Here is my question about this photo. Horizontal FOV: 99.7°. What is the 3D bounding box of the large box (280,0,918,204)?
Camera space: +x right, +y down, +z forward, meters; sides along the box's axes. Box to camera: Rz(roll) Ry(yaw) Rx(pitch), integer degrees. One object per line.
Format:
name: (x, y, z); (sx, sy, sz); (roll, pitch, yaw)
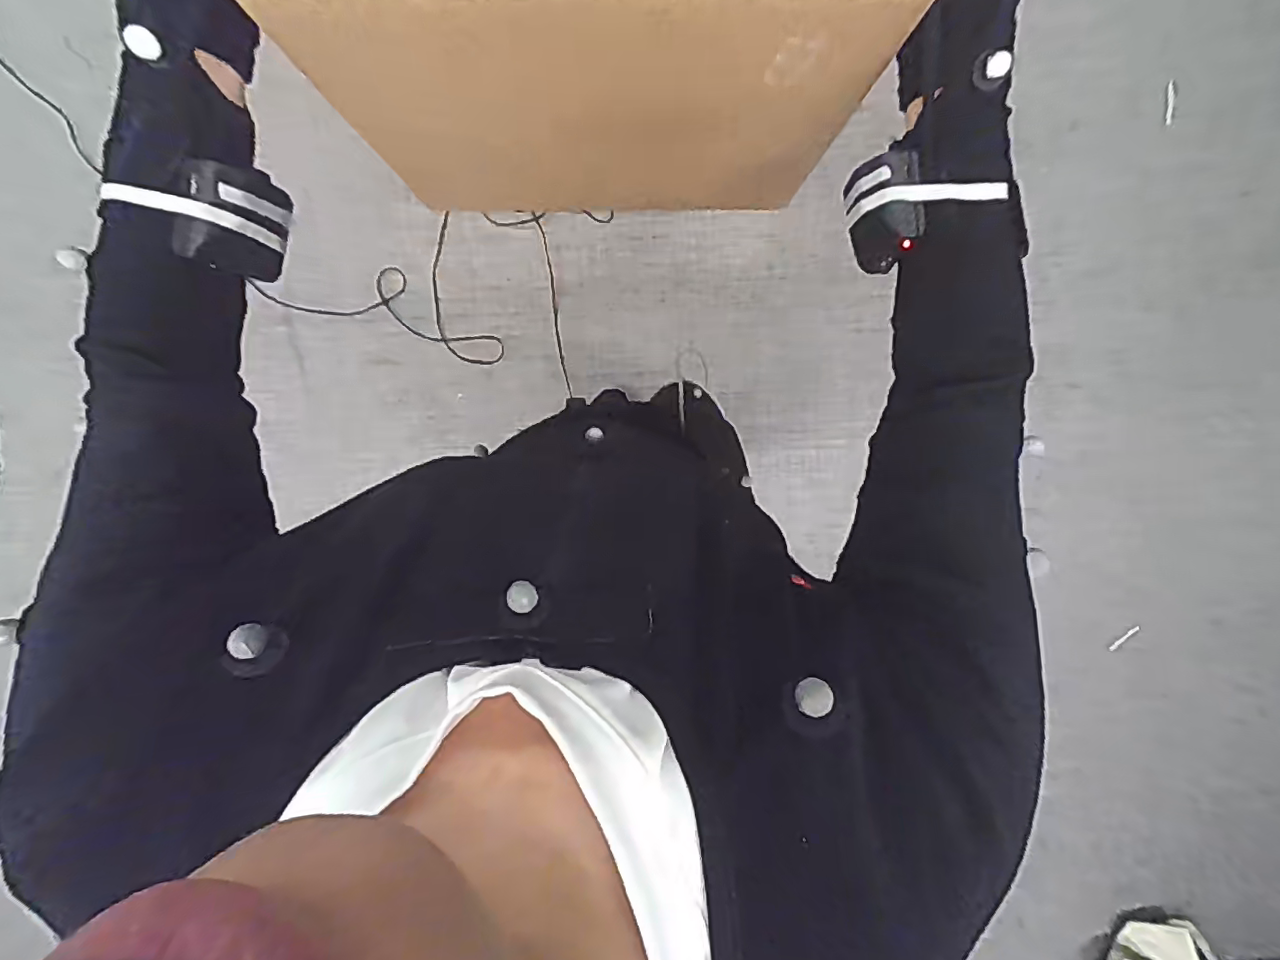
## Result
large box: (-0.031, -0.451, 0.445); (0.408, 0.320, 0.320); (-2, 97, -2)
